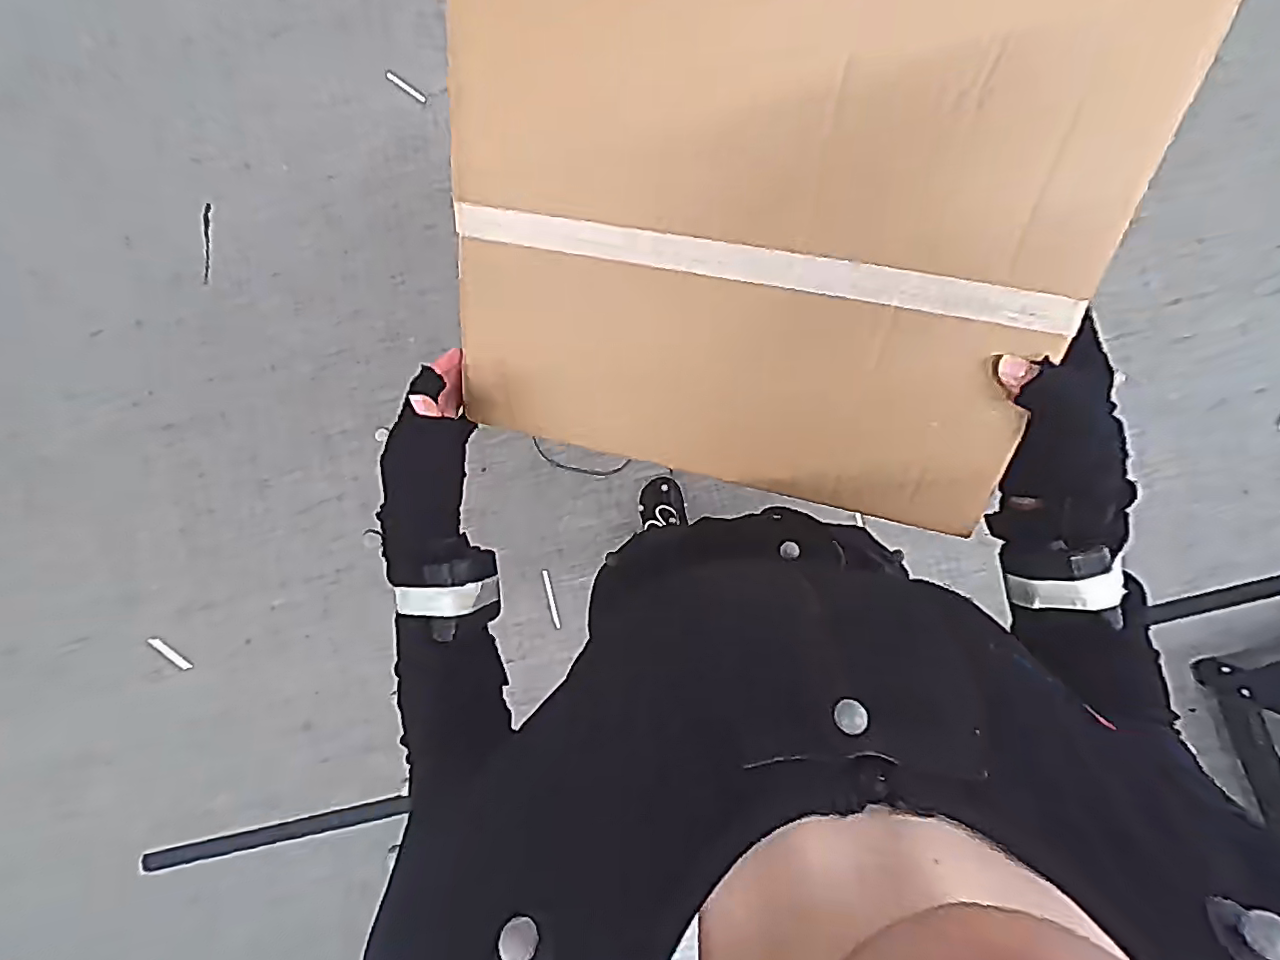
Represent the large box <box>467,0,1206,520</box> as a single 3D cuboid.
[{"bbox_3d":[0.102,-0.209,0.492,0.408,0.320,0.320,14,119,9],"label":"large box"}]
